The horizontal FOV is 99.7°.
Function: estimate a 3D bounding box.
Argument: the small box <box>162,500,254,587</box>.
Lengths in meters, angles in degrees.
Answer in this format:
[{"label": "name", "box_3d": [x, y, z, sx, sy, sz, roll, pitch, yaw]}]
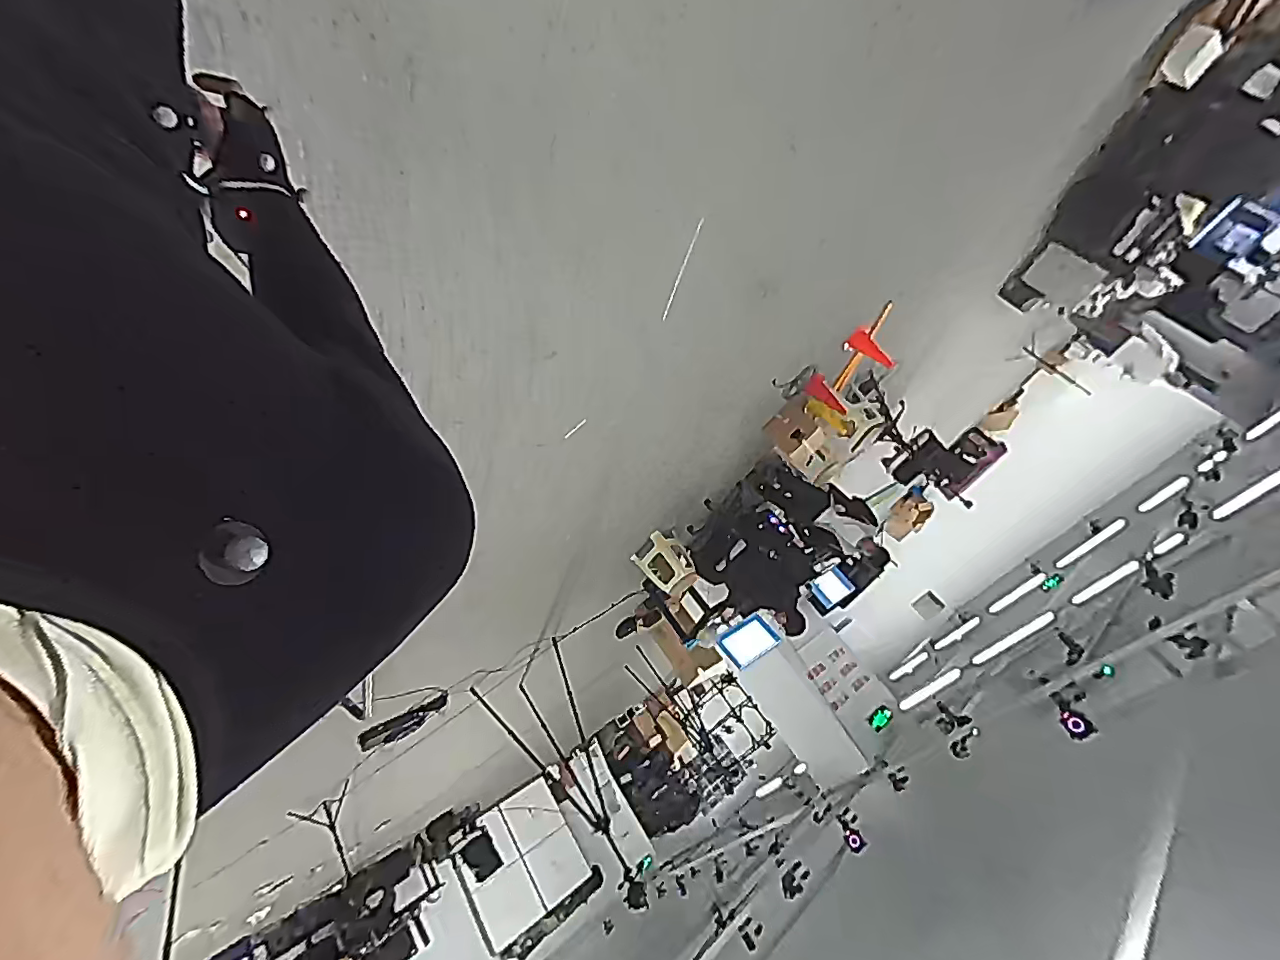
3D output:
[{"label": "small box", "box_3d": [-1.276, 0.177, 1.600, 0.168, 0.176, 0.179, -19, 148, -36]}]
